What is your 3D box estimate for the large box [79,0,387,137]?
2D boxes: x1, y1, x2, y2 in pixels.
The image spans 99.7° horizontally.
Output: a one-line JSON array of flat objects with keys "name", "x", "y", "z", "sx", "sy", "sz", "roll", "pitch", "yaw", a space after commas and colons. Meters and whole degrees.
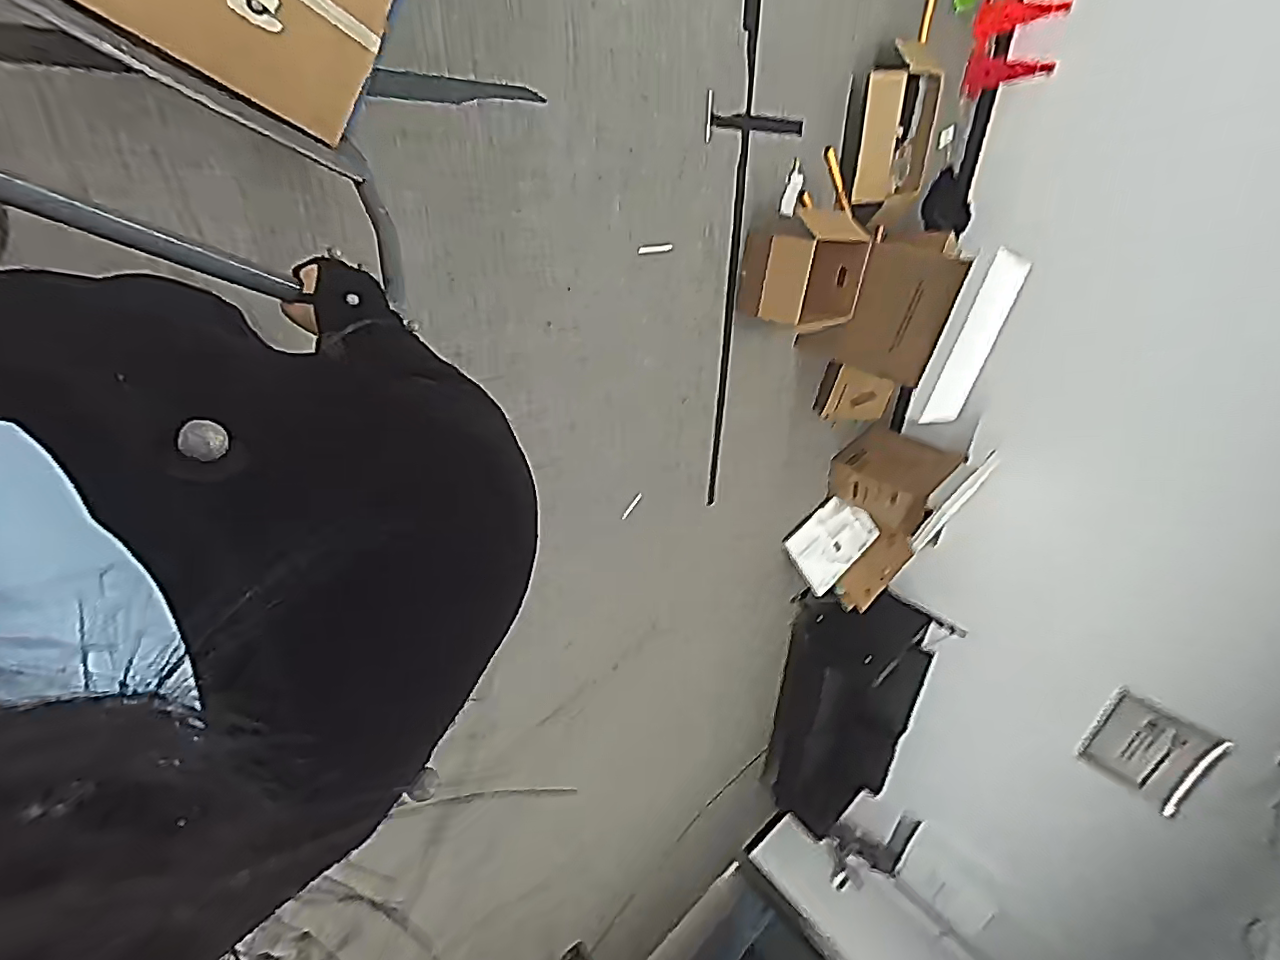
[{"name": "large box", "x": -0.596, "y": -0.762, "z": 0.715, "sx": 0.408, "sy": 0.320, "sz": 0.320, "roll": 12, "pitch": 124, "yaw": -50}]
